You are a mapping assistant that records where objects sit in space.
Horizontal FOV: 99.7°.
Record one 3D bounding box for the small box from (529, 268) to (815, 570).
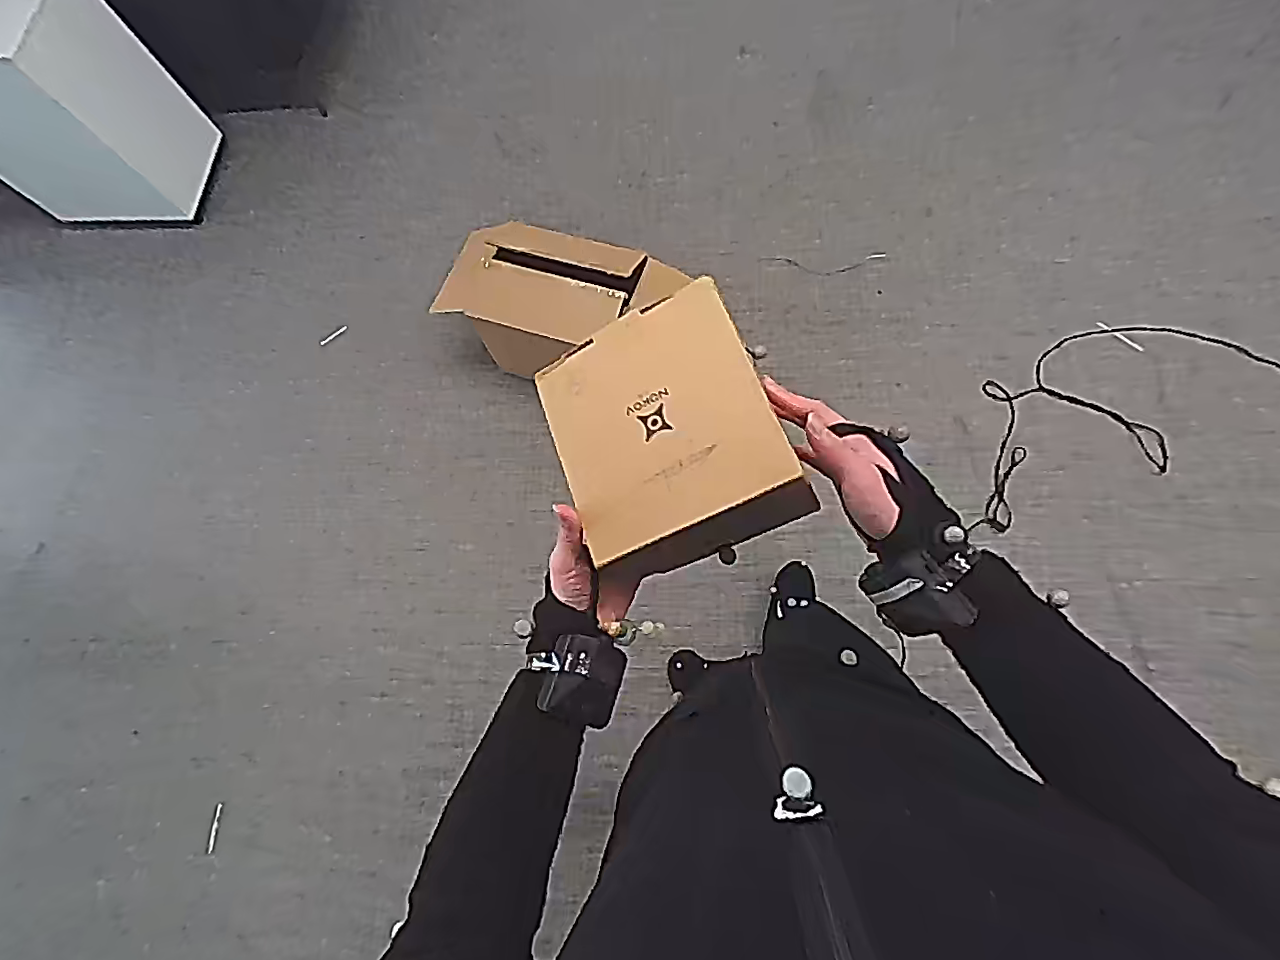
[{"bbox_3d":[0.034,-0.033,0.463,0.168,0.176,0.179,-24,69,19],"label":"small box"}]
